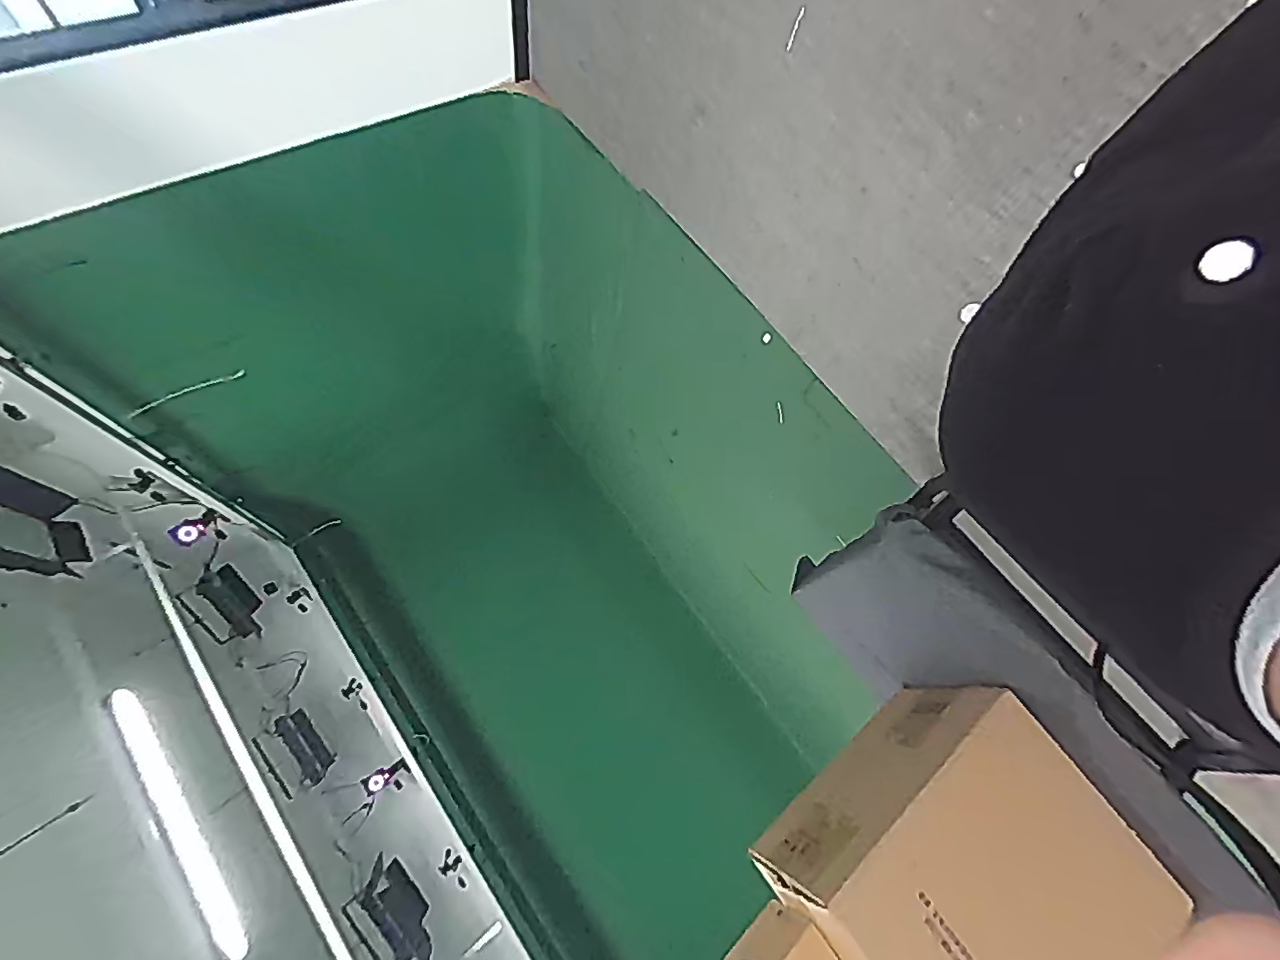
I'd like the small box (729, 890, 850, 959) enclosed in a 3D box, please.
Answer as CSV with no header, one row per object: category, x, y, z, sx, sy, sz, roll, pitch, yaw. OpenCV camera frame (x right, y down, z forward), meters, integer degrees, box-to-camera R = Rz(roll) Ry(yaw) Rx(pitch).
small box,0.320,0.992,1.093,0.179,0.176,0.168,52,153,10
